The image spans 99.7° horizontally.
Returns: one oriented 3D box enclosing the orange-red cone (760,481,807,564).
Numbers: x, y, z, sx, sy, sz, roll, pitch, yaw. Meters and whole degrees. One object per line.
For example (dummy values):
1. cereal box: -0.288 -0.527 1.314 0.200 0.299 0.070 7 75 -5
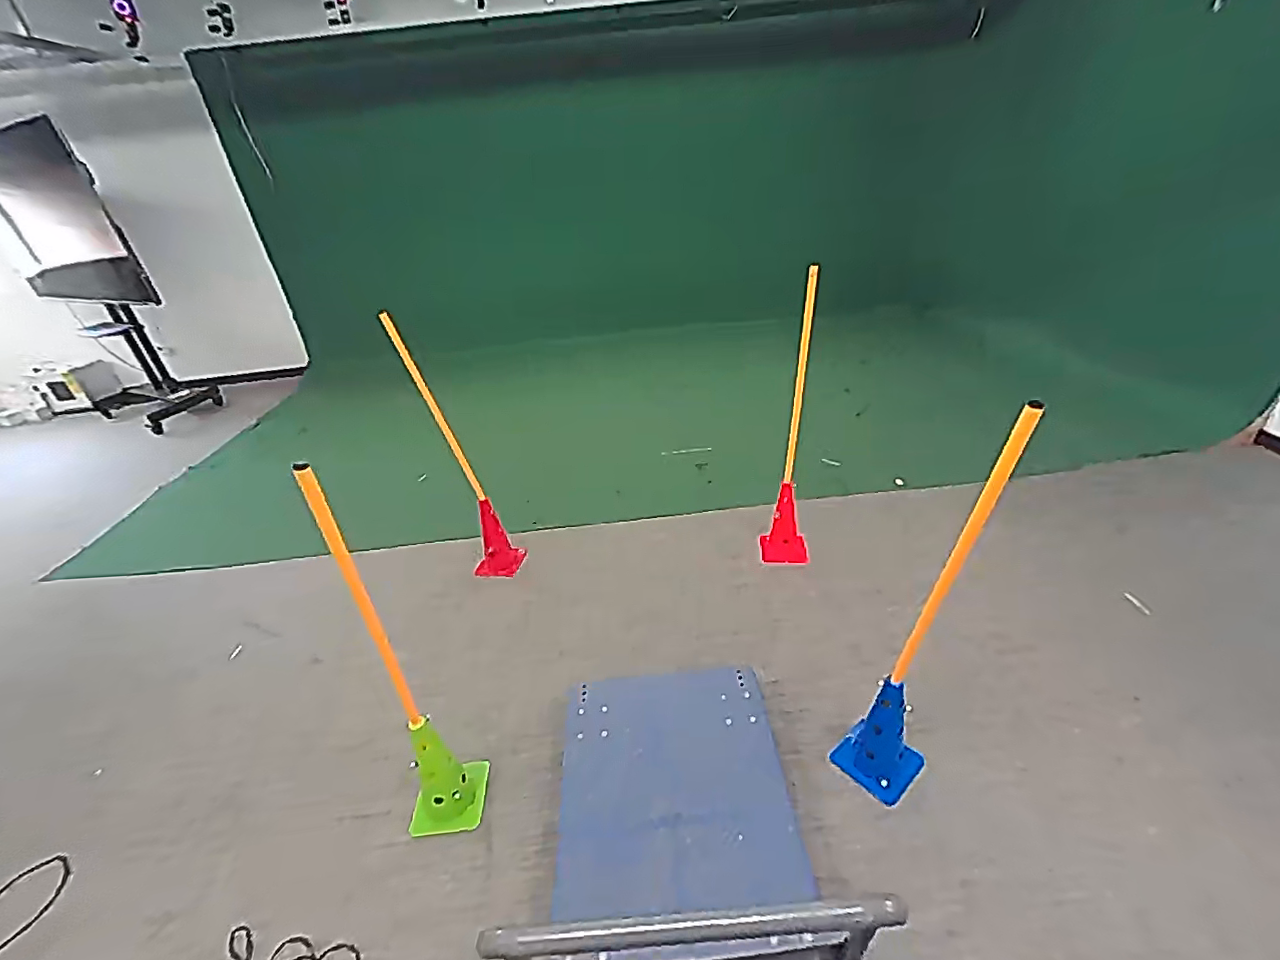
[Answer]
1. orange-red cone: 0.621 0.165 2.324 0.198 0.360 0.199 -1 32 10
